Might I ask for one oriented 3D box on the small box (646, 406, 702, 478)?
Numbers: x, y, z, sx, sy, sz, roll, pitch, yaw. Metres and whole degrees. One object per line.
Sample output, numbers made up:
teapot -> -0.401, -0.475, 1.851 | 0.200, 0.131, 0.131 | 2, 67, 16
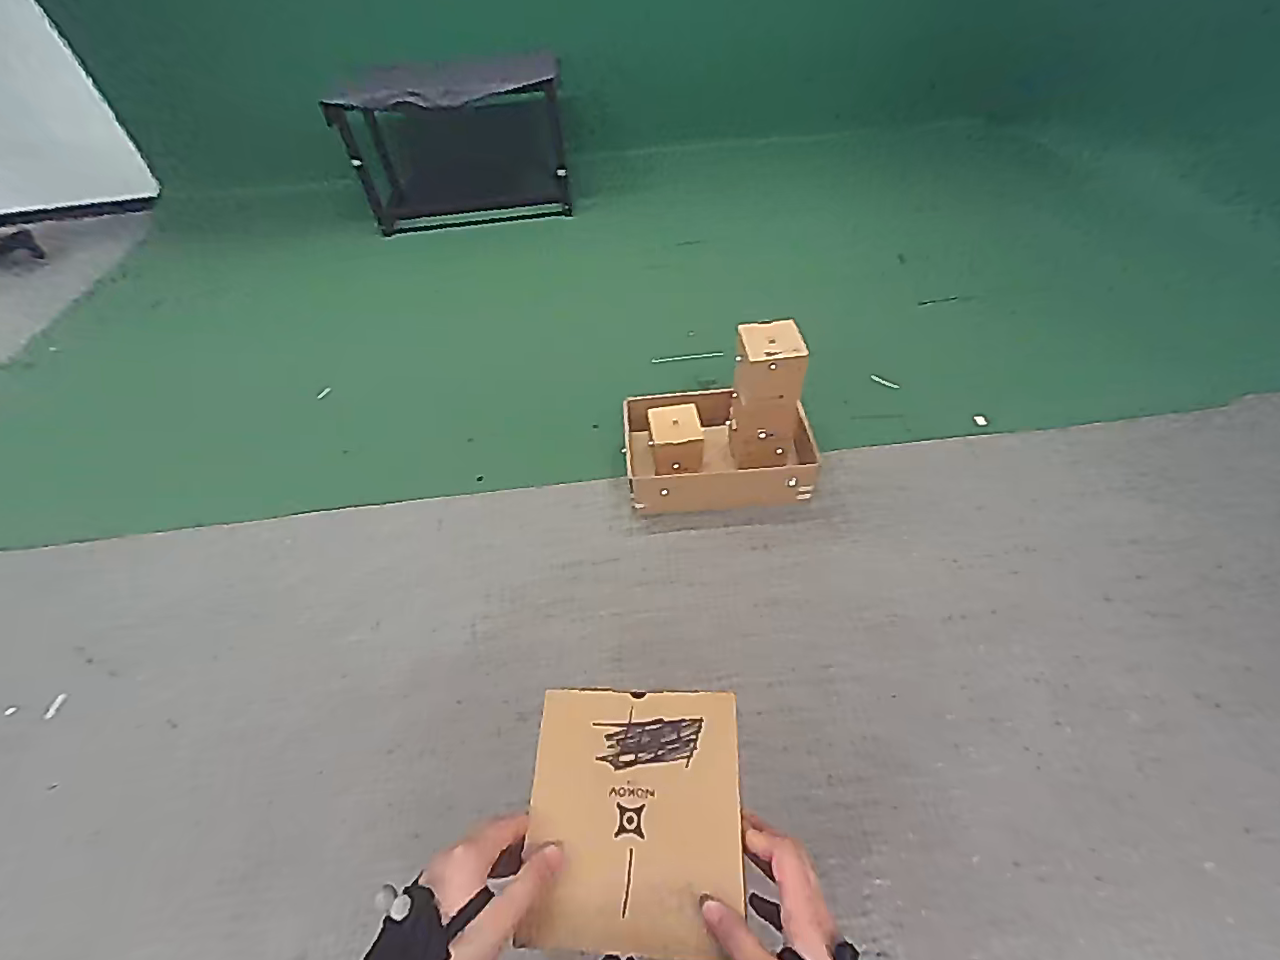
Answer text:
small box -> 0.113, -0.130, 1.874 | 0.168, 0.176, 0.179 | -8, 50, -4

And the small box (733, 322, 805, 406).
small box -> 0.374, -0.342, 1.604 | 0.168, 0.176, 0.179 | -7, 49, 0

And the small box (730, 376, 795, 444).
small box -> 0.384, -0.237, 1.730 | 0.168, 0.176, 0.179 | -5, 51, 2

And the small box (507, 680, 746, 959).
small box -> 0.005, 0.289, 0.473 | 0.168, 0.176, 0.179 | -2, 55, 10
